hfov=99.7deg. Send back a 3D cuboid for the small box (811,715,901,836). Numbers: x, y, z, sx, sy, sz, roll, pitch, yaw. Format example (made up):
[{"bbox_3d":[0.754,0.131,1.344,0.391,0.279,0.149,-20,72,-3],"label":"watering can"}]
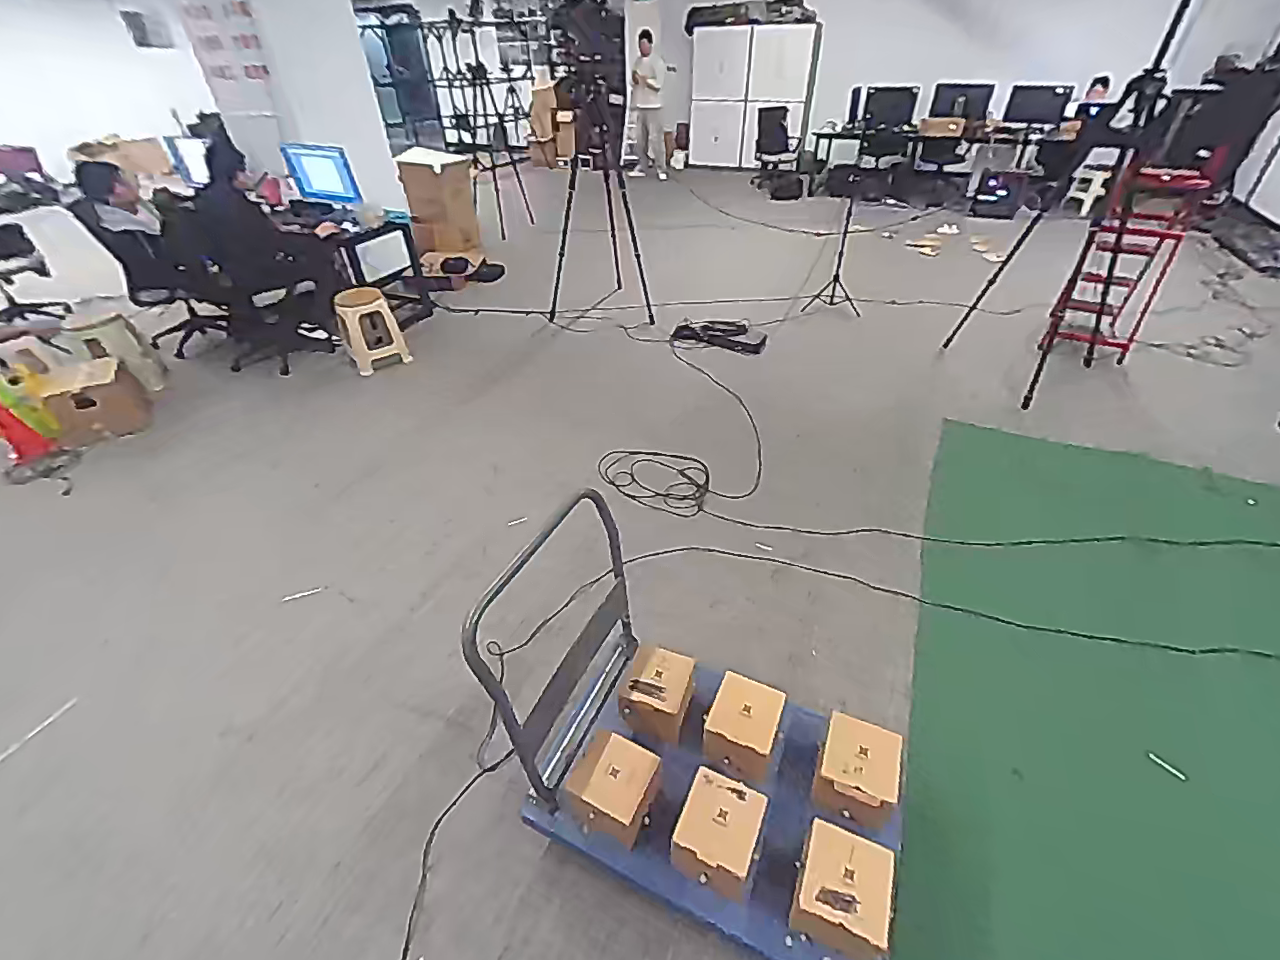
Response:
[{"bbox_3d":[0.527,0.723,1.327,0.168,0.176,0.179,14,41,21],"label":"small box"}]

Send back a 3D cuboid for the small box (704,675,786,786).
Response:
[{"bbox_3d":[0.273,0.659,1.425,0.168,0.176,0.179,16,43,21],"label":"small box"}]

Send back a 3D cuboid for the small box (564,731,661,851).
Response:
[{"bbox_3d":[-0.062,0.758,1.313,0.179,0.176,0.168,18,43,22],"label":"small box"}]

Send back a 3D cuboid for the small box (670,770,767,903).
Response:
[{"bbox_3d":[0.179,0.813,1.231,0.168,0.176,0.179,16,42,21],"label":"small box"}]

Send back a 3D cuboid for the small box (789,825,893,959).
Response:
[{"bbox_3d":[0.422,0.890,1.148,0.168,0.176,0.179,15,41,20],"label":"small box"}]
